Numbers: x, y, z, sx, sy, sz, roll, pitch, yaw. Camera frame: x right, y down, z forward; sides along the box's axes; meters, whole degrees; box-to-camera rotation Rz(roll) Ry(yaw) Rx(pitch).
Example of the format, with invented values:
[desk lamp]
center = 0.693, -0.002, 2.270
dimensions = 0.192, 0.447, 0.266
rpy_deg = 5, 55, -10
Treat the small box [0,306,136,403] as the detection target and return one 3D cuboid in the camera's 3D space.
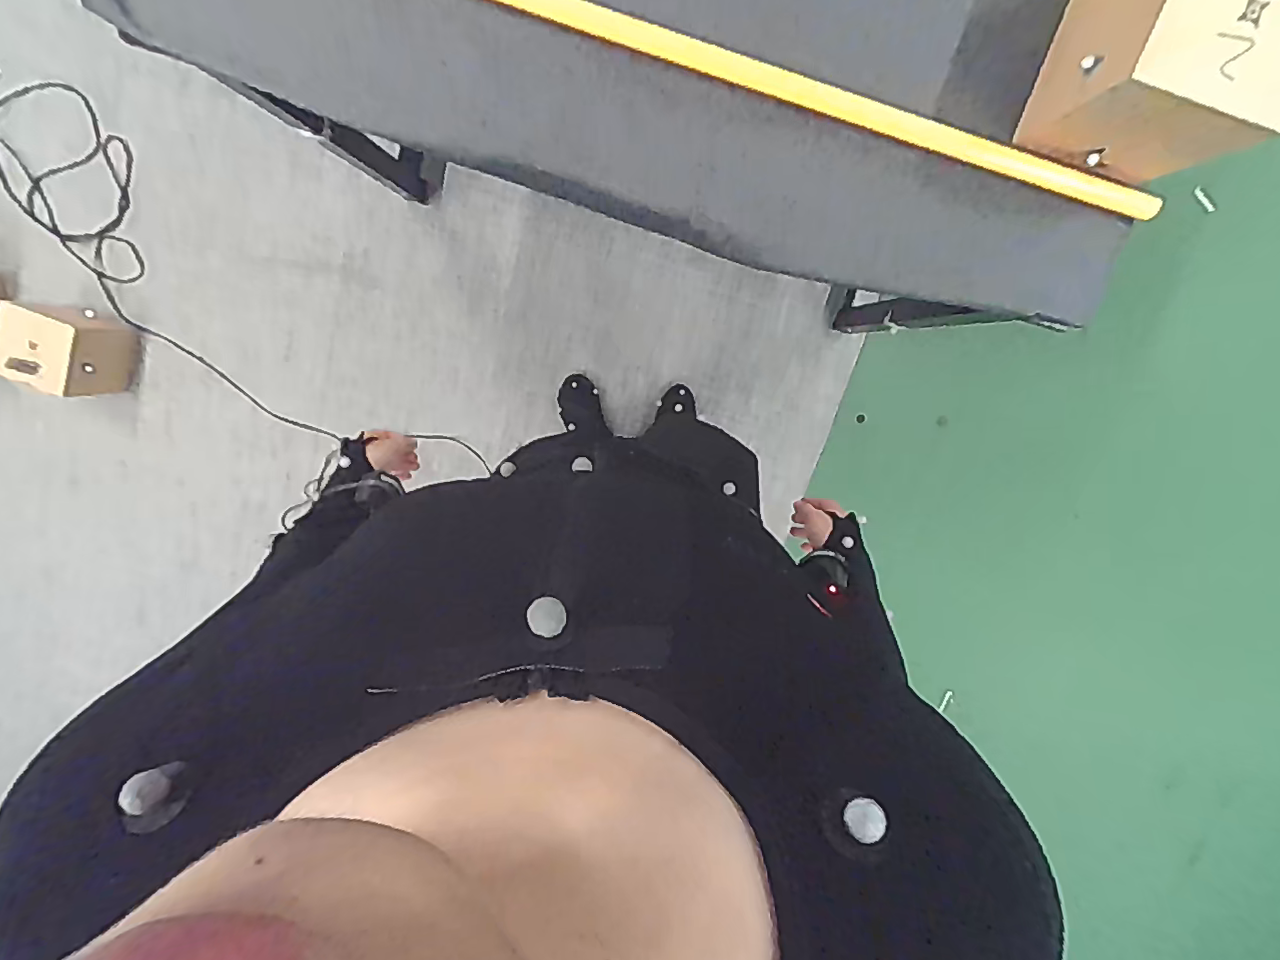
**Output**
[small box]
center = -1.400, -0.306, 1.327
dimensions = 0.168, 0.176, 0.179
rpy_deg = 21, 102, -6
